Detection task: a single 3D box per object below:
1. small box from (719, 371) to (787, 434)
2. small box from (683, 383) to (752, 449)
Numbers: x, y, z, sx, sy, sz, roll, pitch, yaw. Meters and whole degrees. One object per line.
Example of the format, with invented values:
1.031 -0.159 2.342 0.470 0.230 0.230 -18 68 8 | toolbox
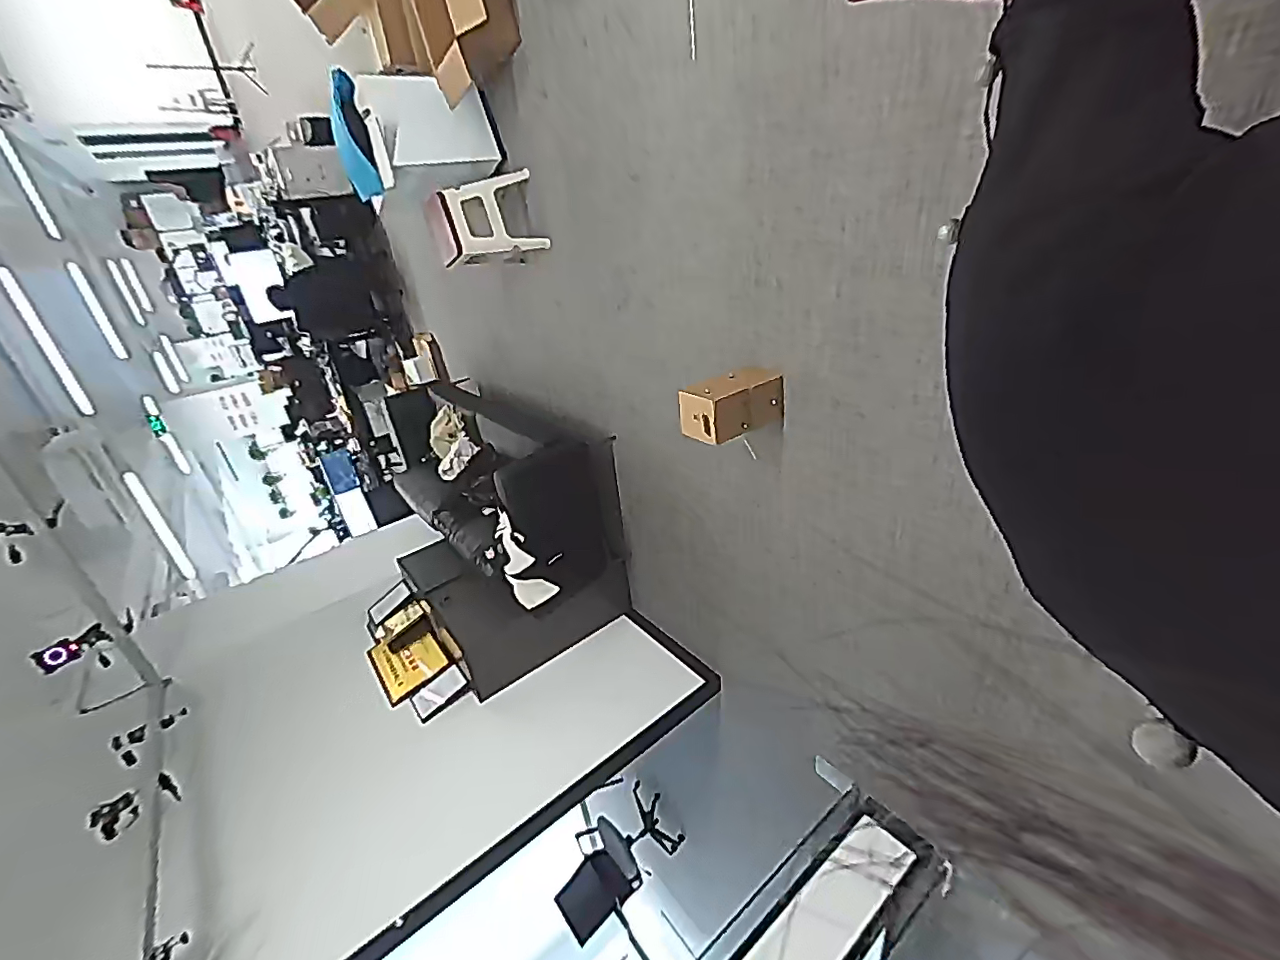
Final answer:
0.408 -0.286 1.962 0.179 0.176 0.168 27 133 46 | small box
0.275 -0.230 1.884 0.179 0.176 0.168 27 133 48 | small box
